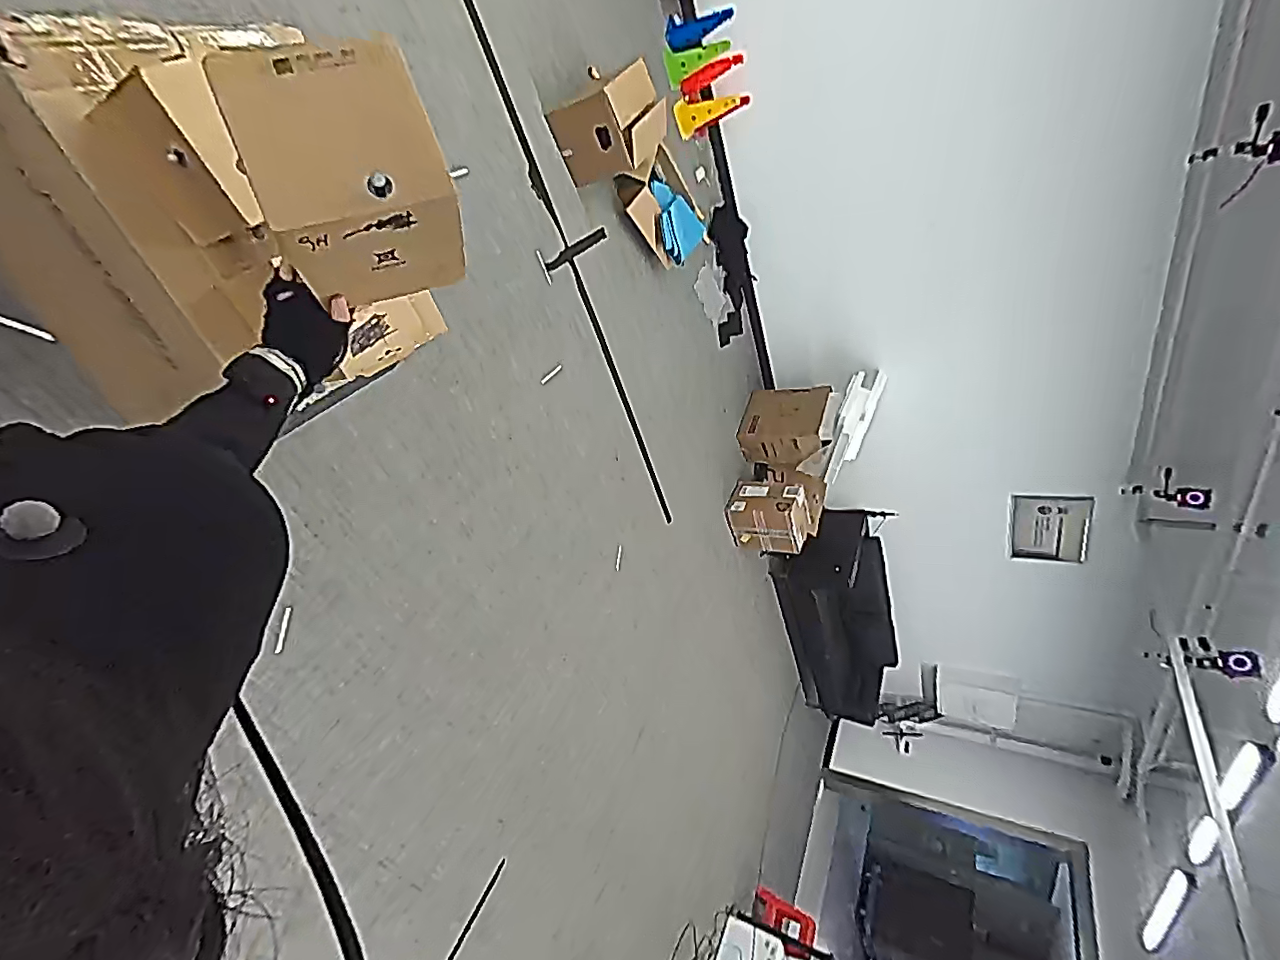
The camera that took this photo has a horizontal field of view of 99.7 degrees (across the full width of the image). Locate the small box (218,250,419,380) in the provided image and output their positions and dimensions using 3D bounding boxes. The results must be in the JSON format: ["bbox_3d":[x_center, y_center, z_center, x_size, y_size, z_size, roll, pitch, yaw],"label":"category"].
[{"bbox_3d":[-0.492,-0.265,0.838,0.168,0.176,0.179,-52,131,-43],"label":"small box"}]

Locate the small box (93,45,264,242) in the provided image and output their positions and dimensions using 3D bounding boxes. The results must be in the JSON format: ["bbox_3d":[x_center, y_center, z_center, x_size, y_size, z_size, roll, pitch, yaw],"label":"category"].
[{"bbox_3d":[-0.560,-0.446,0.724,0.168,0.176,0.179,-56,137,-39],"label":"small box"}]

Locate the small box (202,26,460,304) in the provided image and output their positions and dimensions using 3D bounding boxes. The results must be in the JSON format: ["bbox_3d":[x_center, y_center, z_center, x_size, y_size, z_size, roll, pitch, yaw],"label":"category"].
[{"bbox_3d":[-0.297,-0.311,0.558,0.168,0.179,0.176,-22,91,-18],"label":"small box"}]
